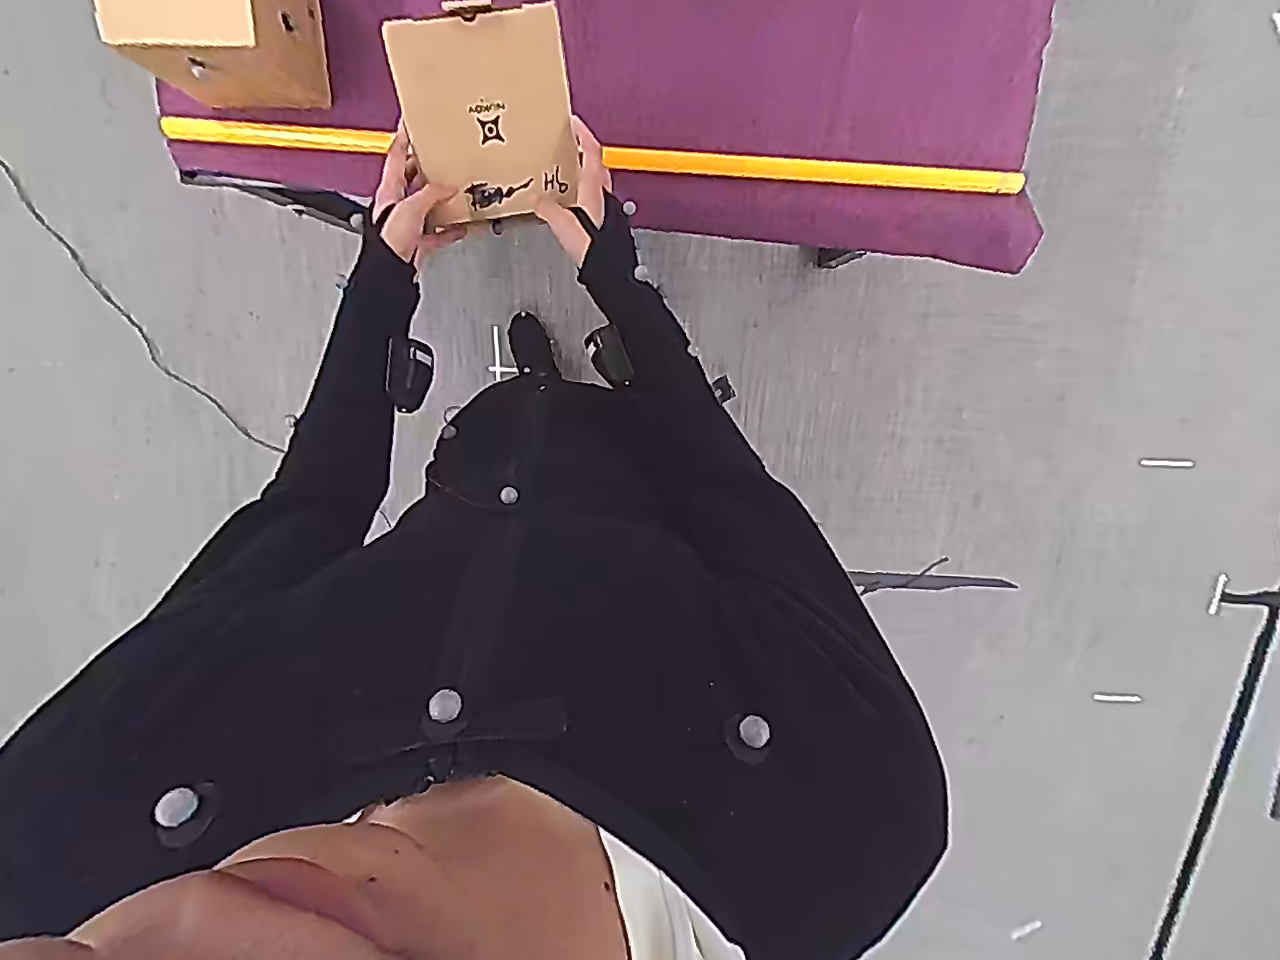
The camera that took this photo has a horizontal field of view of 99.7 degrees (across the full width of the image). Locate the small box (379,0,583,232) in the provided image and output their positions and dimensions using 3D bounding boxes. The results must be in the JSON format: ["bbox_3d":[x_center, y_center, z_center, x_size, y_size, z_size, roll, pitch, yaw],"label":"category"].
[{"bbox_3d":[-0.157,-0.384,0.601,0.168,0.176,0.179,-8,112,-1],"label":"small box"}]

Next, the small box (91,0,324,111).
[{"bbox_3d":[-0.515,-0.578,0.660,0.179,0.176,0.168,0,104,0],"label":"small box"}]
